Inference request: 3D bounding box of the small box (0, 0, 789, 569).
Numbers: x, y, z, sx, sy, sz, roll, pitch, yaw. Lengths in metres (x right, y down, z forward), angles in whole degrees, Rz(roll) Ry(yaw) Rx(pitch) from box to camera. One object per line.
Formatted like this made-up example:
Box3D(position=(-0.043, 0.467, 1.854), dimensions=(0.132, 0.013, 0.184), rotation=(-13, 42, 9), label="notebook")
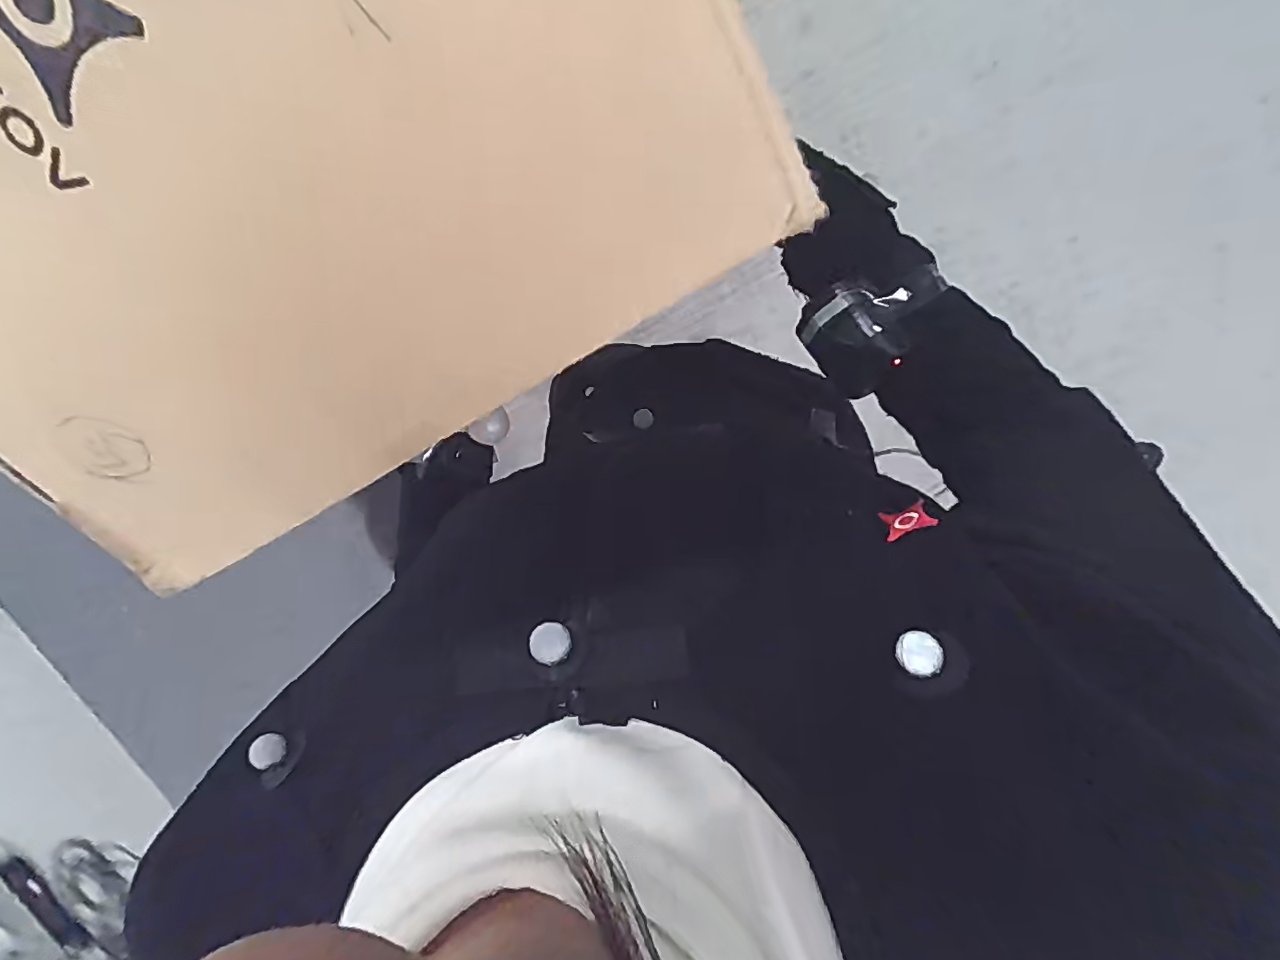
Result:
Box3D(position=(-0.080, -0.112, 0.149), dimensions=(0.179, 0.176, 0.168), rotation=(-25, 116, 19), label="small box")
